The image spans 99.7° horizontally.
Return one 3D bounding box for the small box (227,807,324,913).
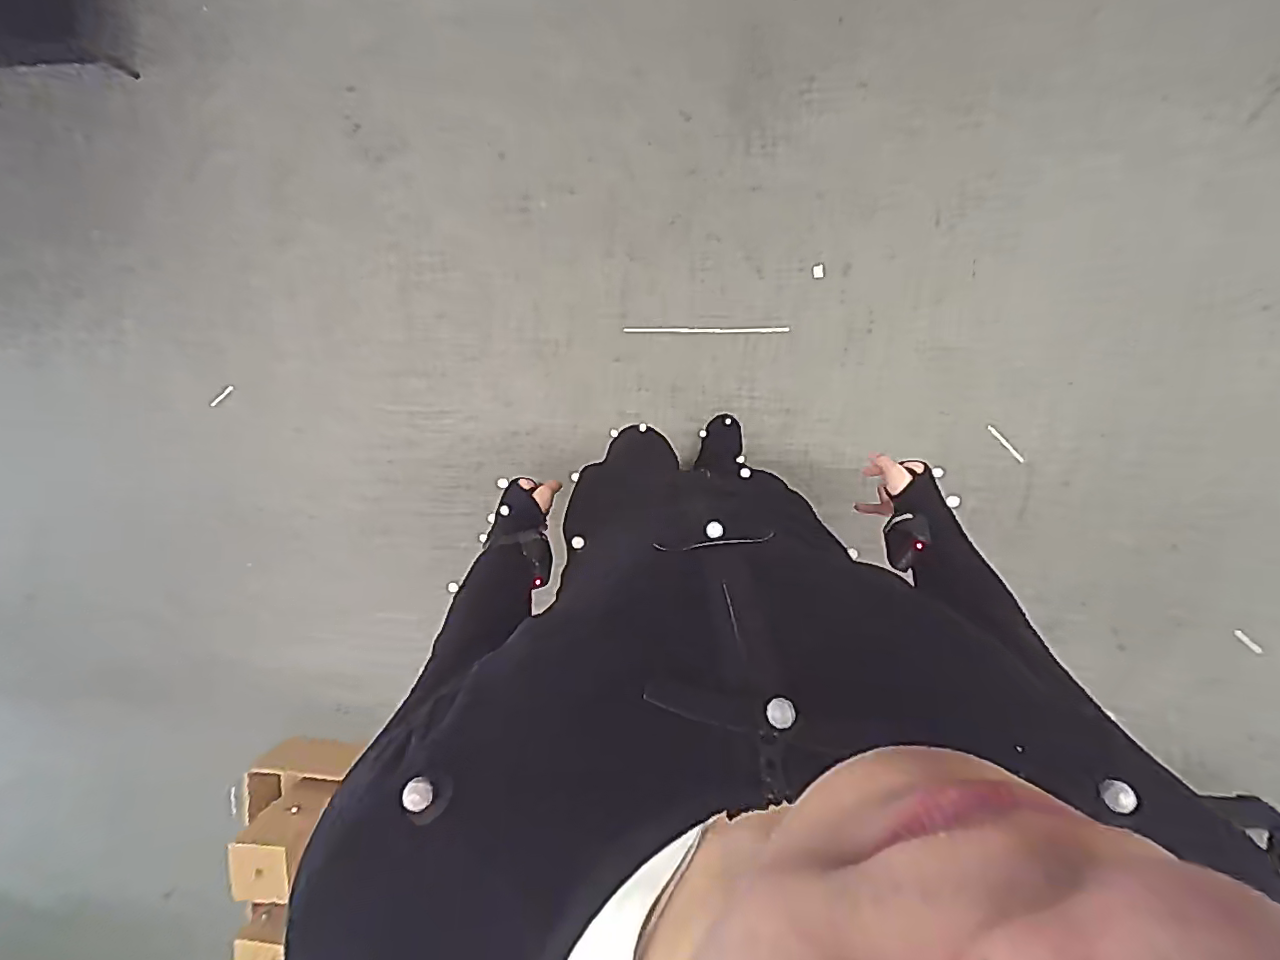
[{"bbox_3d":[-1.033,1.079,1.543,0.168,0.176,0.179,2,96,4],"label":"small box"}]
